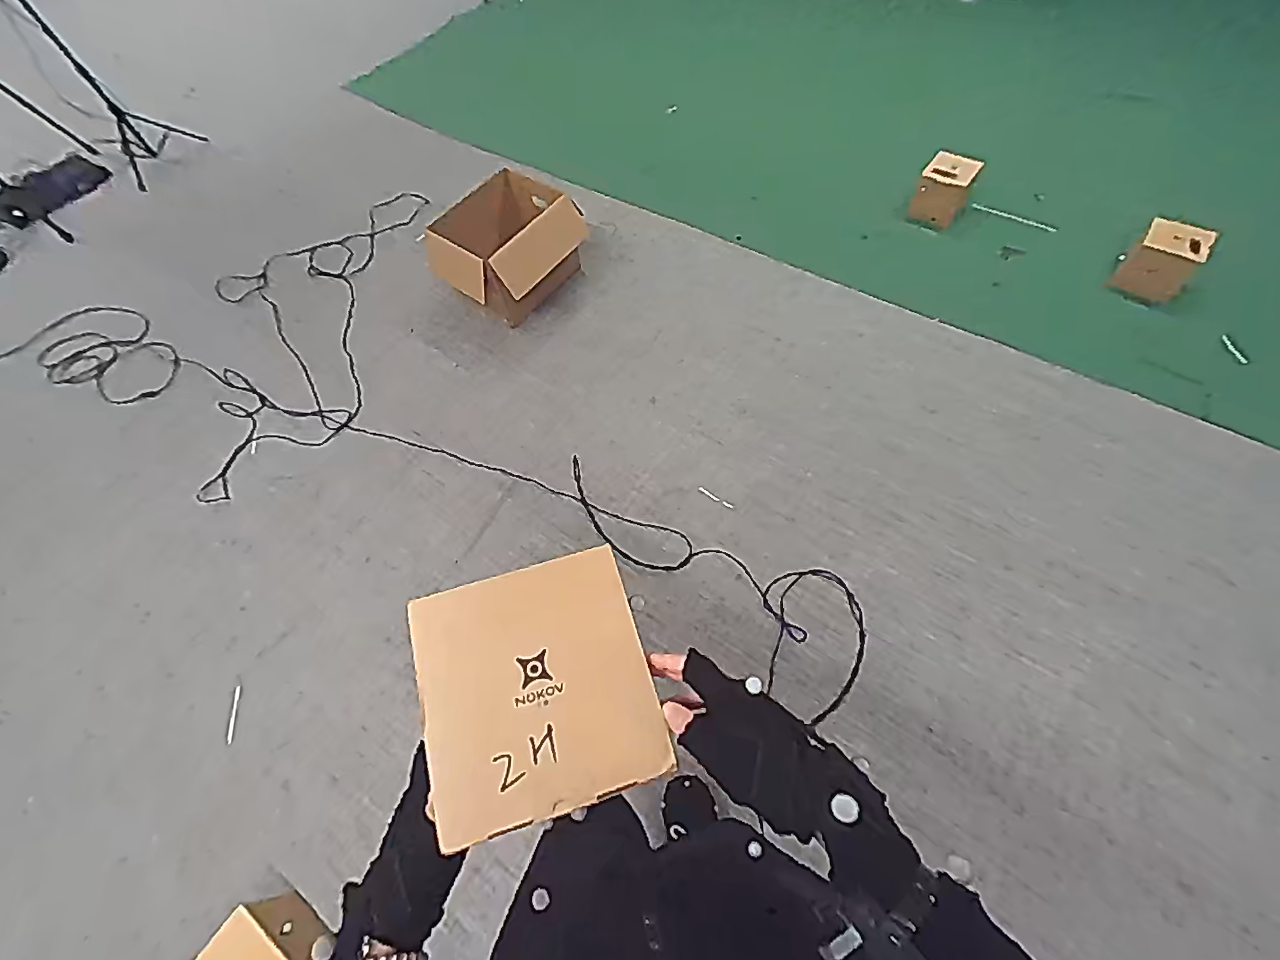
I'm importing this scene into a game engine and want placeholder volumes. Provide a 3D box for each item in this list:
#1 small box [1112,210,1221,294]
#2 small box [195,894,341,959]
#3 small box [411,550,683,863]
[{"bbox_3d":[1.723,-0.742,1.775,0.179,0.176,0.168,32,69,21],"label":"small box"},{"bbox_3d":[-0.745,0.961,1.067,0.179,0.176,0.168,30,67,18],"label":"small box"},{"bbox_3d":[-0.075,0.184,0.458,0.168,0.176,0.179,-15,65,-9],"label":"small box"}]
